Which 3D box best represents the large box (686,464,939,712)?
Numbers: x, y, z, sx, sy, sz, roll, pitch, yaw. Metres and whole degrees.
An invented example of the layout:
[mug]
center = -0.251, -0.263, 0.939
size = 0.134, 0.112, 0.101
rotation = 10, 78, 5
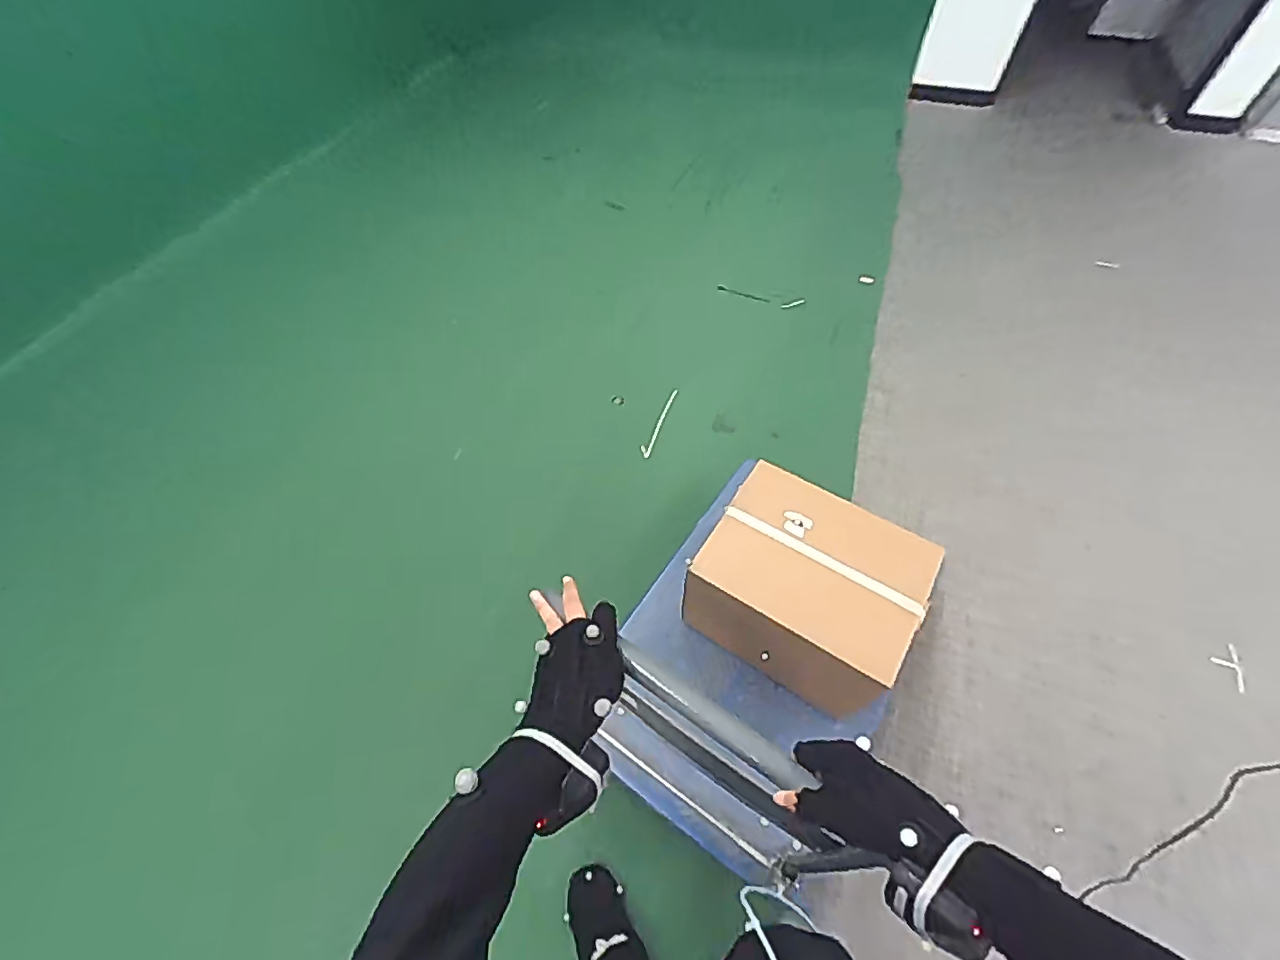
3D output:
[large box]
center = 0.348, 0.239, 1.180
size = 0.408, 0.320, 0.320
rotation = 28, 62, 20
